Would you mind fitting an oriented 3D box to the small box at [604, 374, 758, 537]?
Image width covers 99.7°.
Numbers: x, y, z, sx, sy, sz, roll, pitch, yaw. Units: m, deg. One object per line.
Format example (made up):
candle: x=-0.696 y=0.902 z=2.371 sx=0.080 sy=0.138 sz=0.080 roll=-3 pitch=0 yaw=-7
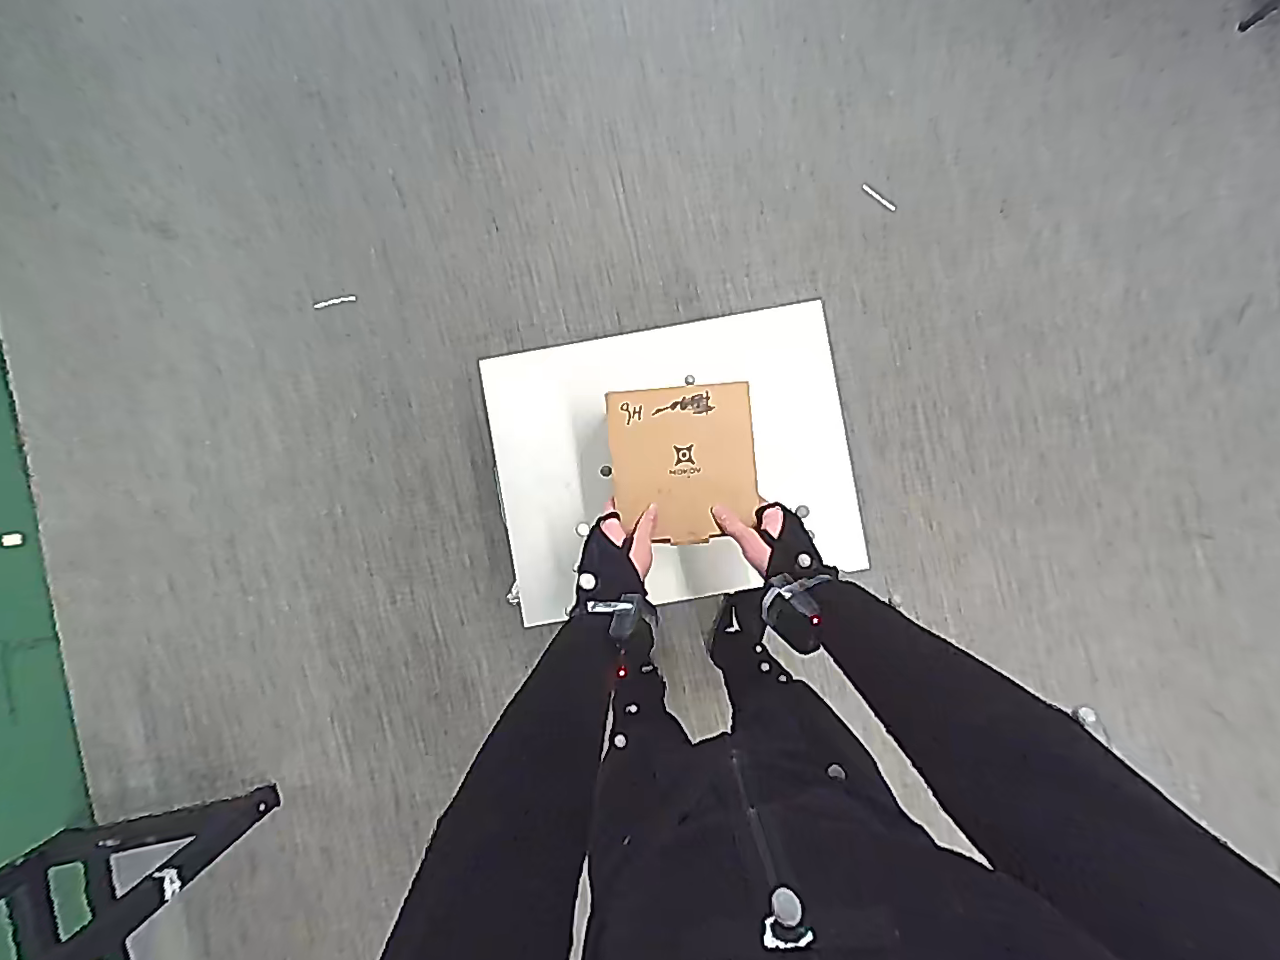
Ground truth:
small box: x=0.047 y=-0.030 z=0.700 sx=0.168 sy=0.176 sz=0.179 roll=-7 pitch=90 yaw=-1
